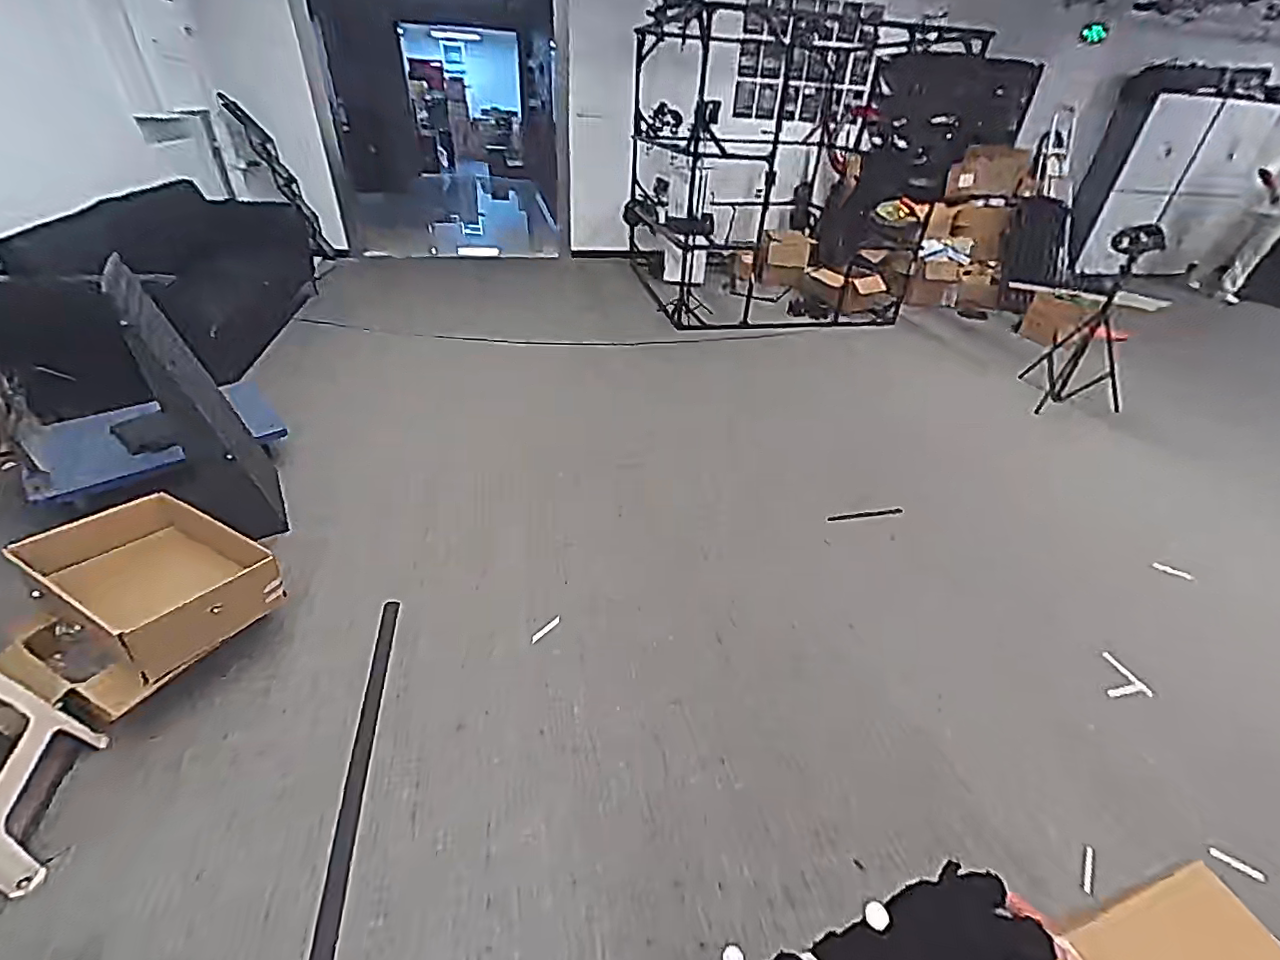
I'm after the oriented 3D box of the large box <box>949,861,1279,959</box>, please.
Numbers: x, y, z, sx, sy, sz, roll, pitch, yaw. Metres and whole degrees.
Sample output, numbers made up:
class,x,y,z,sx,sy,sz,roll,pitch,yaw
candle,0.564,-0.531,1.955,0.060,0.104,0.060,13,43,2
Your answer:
class,x,y,z,sx,sy,sz,roll,pitch,yaw
large box,0.380,0.584,0.376,0.320,0.320,0.408,-15,44,-13
